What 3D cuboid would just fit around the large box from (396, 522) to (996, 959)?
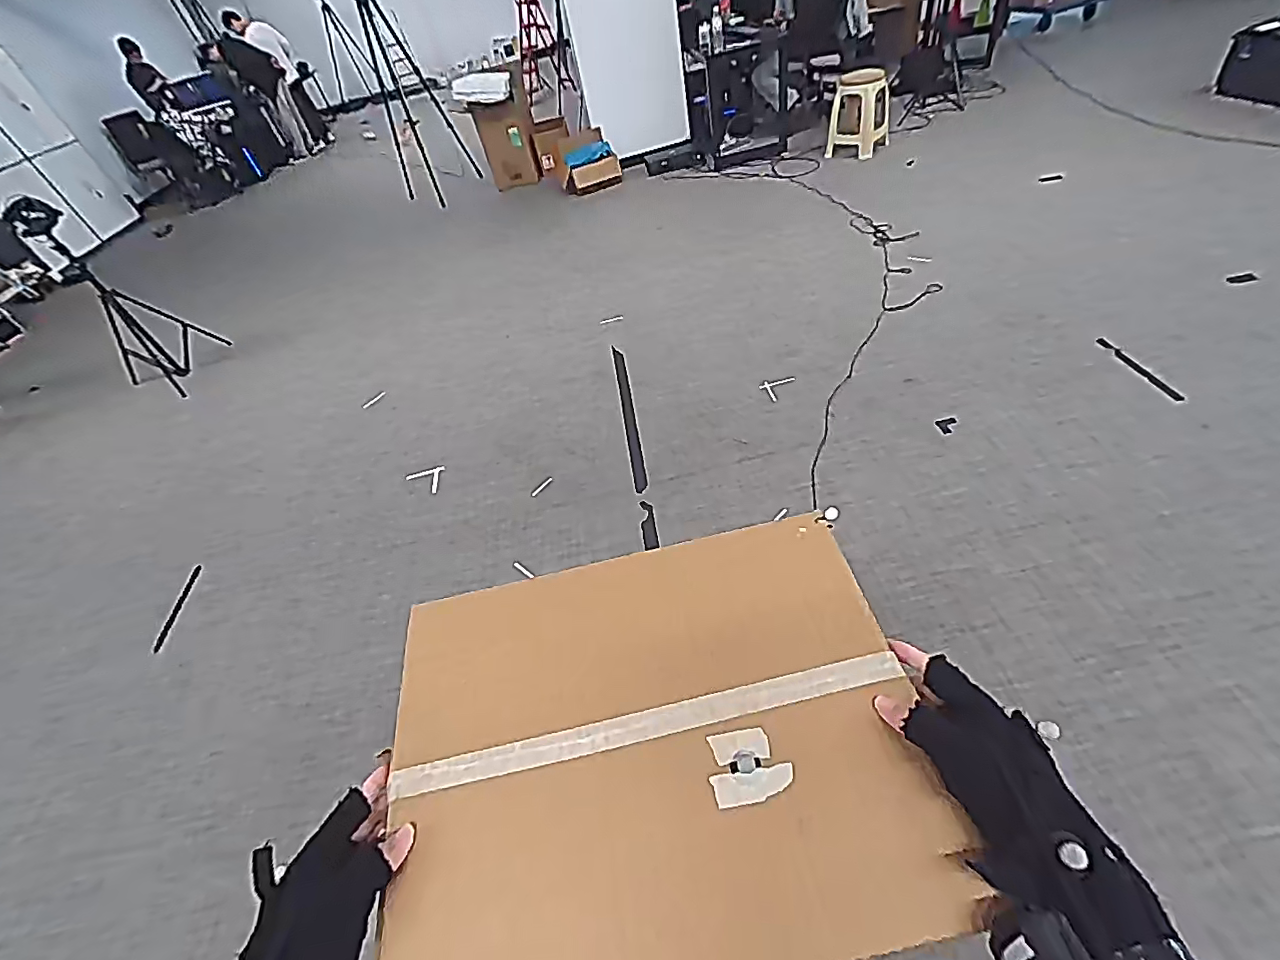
[{"bbox_3d":[0.029,0.294,0.547,0.408,0.320,0.320,-13,50,0],"label":"large box"}]
